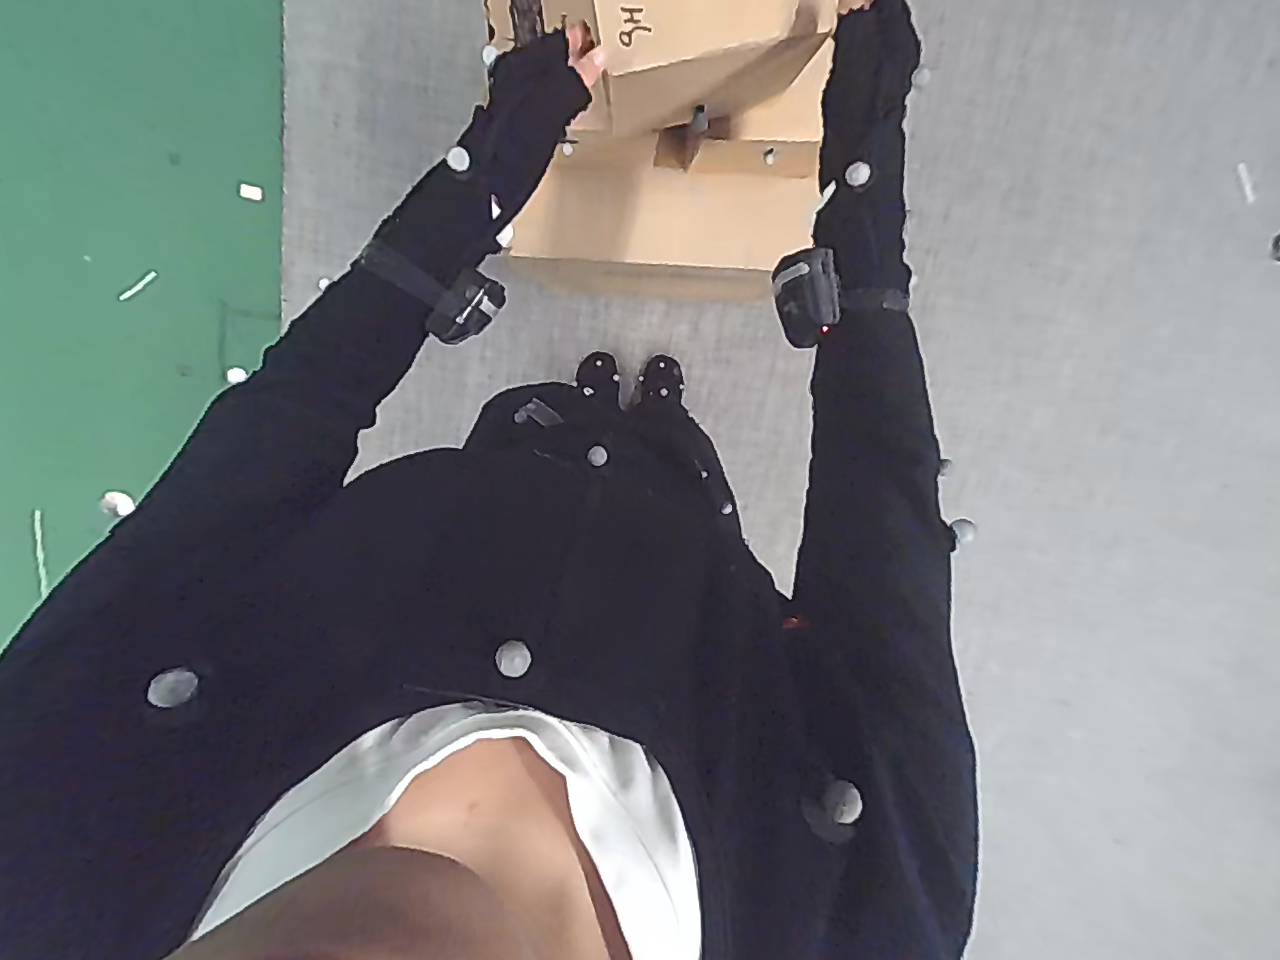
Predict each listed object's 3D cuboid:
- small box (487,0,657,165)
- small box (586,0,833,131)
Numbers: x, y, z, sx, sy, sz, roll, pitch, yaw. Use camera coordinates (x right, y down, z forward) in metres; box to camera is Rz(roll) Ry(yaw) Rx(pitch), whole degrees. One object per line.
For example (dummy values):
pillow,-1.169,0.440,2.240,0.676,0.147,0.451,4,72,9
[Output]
small box,-0.065,-0.469,0.612,0.179,0.176,0.168,1,109,-2
small box,0.043,-0.424,0.458,0.179,0.176,0.168,-10,109,1
